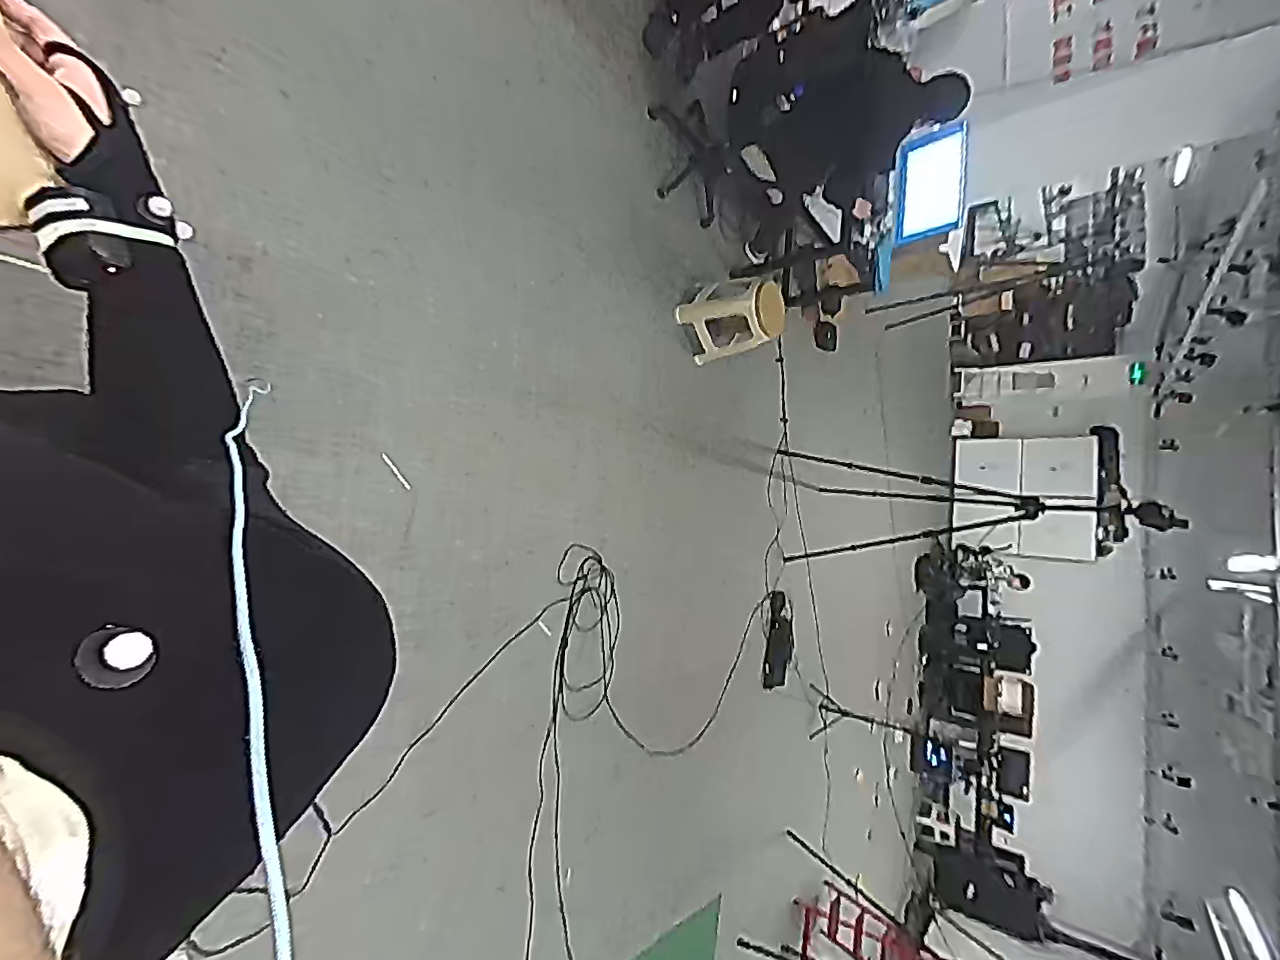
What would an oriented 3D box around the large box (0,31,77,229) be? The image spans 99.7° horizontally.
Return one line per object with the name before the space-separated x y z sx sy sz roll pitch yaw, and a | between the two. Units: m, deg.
large box | -0.716 -0.320 0.337 0.408 0.320 0.320 -30 127 -43
